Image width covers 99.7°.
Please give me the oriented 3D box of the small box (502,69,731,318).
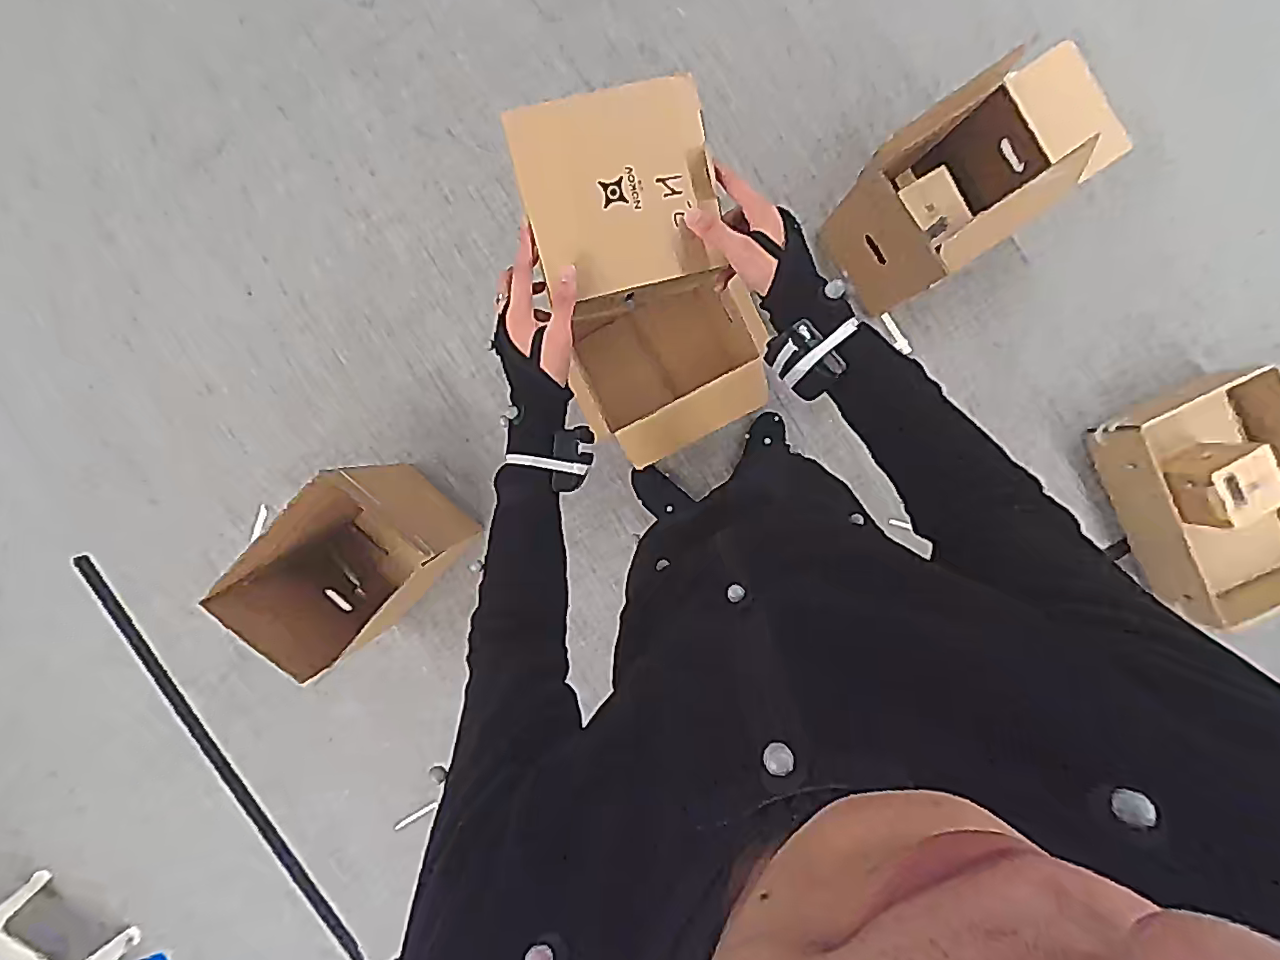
[{"bbox_3d":[-0.026,-0.273,0.555,0.179,0.176,0.168,-15,103,-5],"label":"small box"}]
